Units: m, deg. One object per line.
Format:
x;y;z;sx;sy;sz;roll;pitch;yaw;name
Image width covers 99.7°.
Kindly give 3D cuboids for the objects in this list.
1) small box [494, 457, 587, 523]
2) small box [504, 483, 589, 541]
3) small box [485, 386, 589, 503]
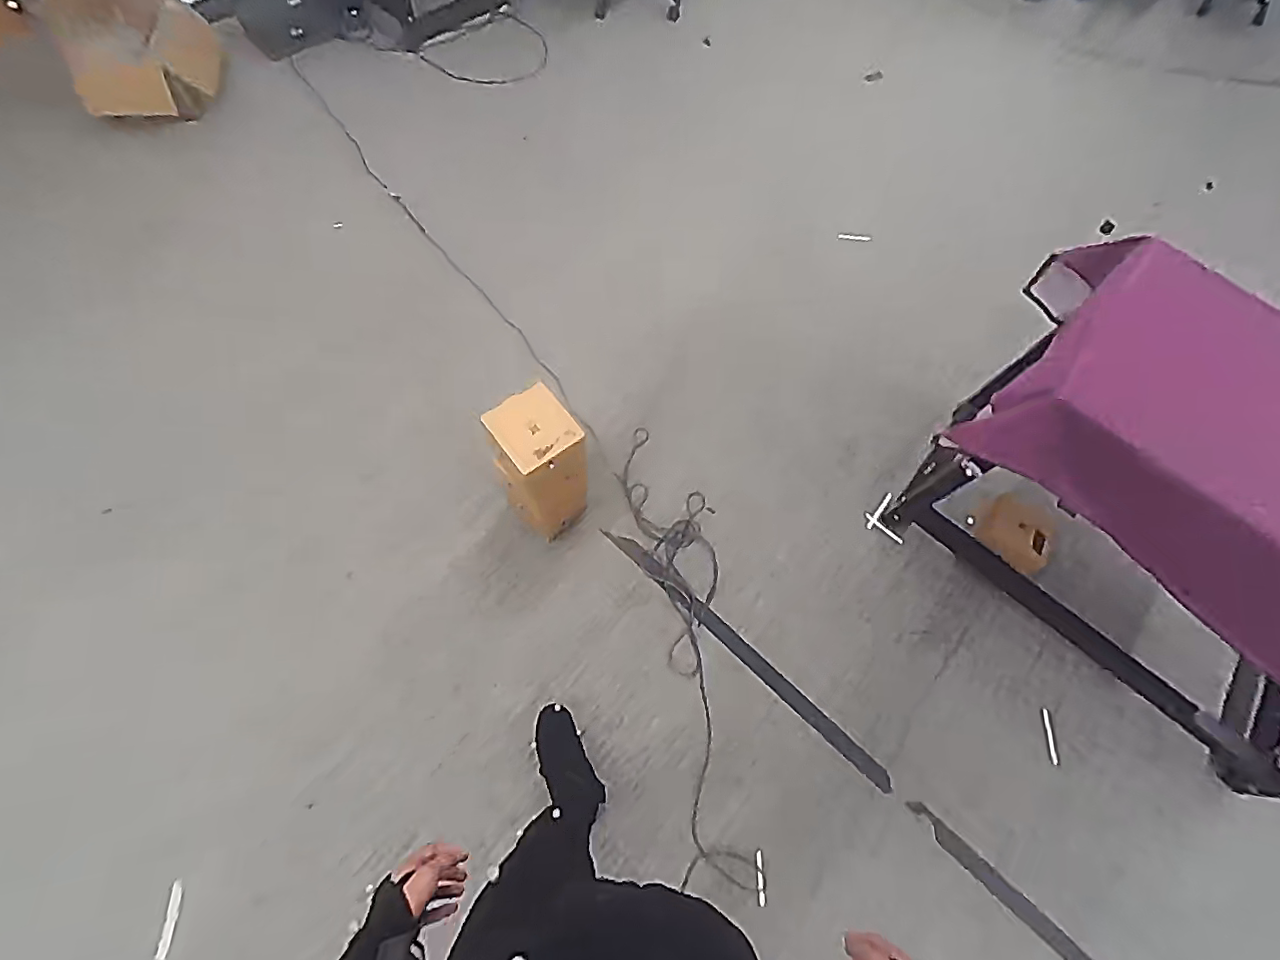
-0.248;-0.015;1.404;0.168;0.176;0.179;43;70;13;small box
-0.264;0.049;1.552;0.179;0.176;0.168;42;69;12;small box
-0.233;-0.078;1.252;0.168;0.176;0.179;-35;73;-18;small box
